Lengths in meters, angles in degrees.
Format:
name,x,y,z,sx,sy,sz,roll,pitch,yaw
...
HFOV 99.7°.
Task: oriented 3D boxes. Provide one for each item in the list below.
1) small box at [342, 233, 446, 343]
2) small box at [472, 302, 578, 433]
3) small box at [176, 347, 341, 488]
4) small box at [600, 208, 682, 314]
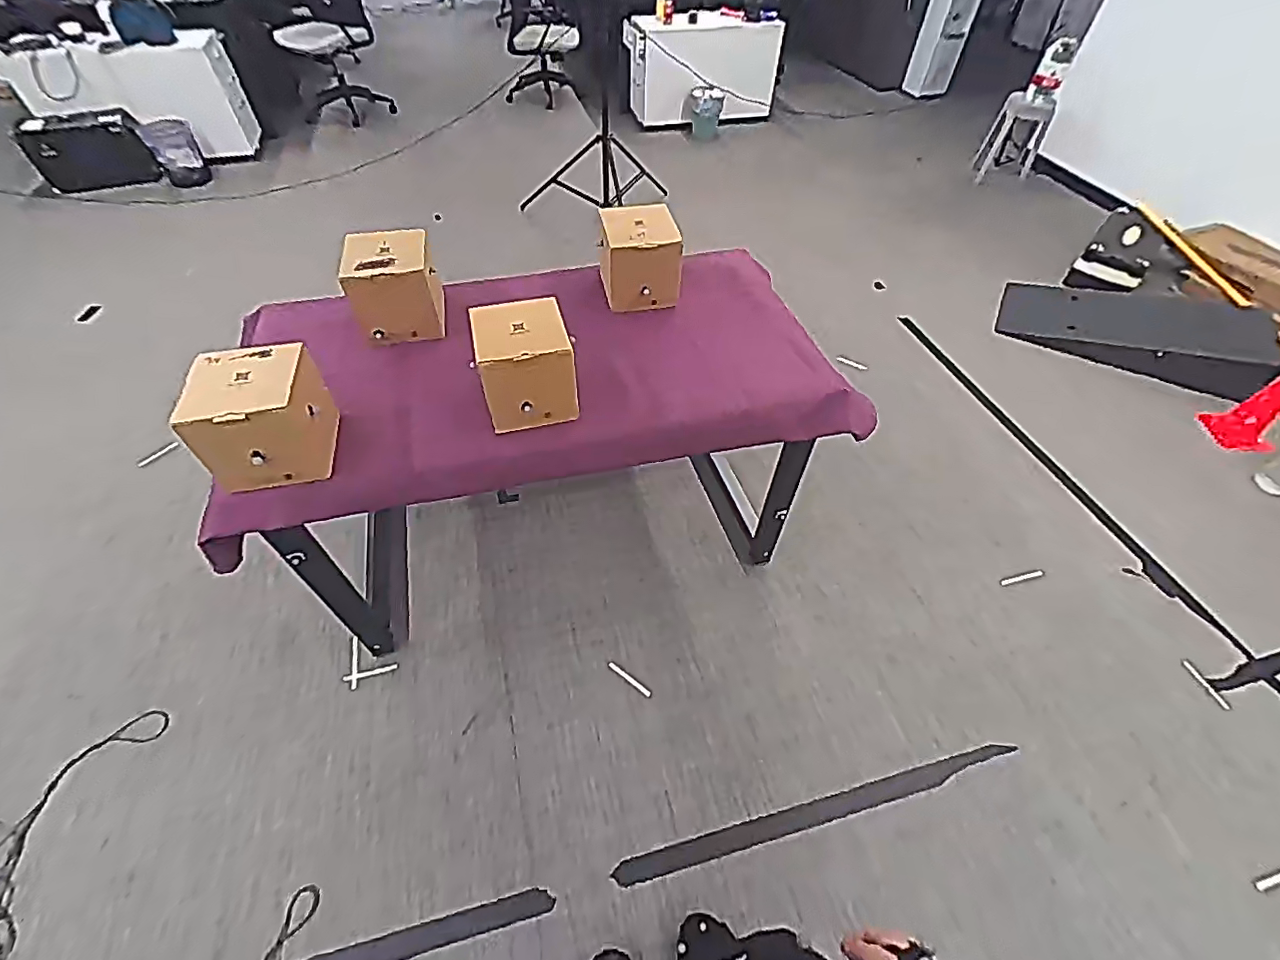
name,x,y,z,sx,sy,sz,roll,pitch,yaw
small box,-0.534,-0.418,1.197,0.168,0.176,0.179,-9,52,-9
small box,-0.220,-0.217,1.044,0.168,0.176,0.179,-12,51,-11
small box,-0.639,-0.102,0.934,0.168,0.176,0.179,-10,52,-10
small box,-0.004,-0.524,1.296,0.168,0.176,0.179,-9,54,-8
